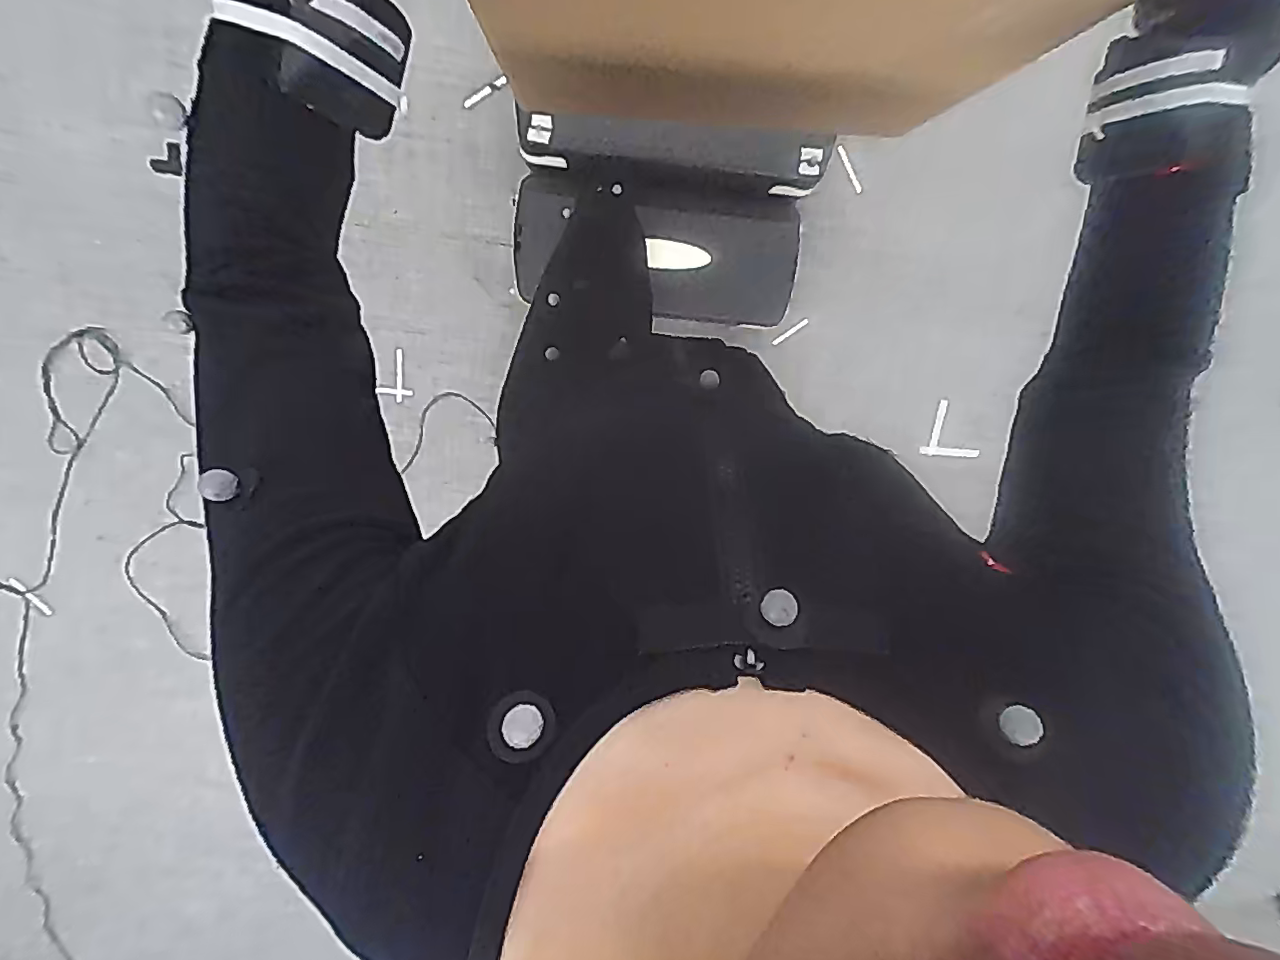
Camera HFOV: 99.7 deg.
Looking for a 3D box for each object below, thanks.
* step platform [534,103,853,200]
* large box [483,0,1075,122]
[{"bbox_3d":[0.113,-0.814,1.176,0.684,0.204,0.286,4,107,-5],"label":"step platform"},{"bbox_3d":[0.087,-0.482,0.379,0.408,0.320,0.320,1,109,-4],"label":"large box"}]
